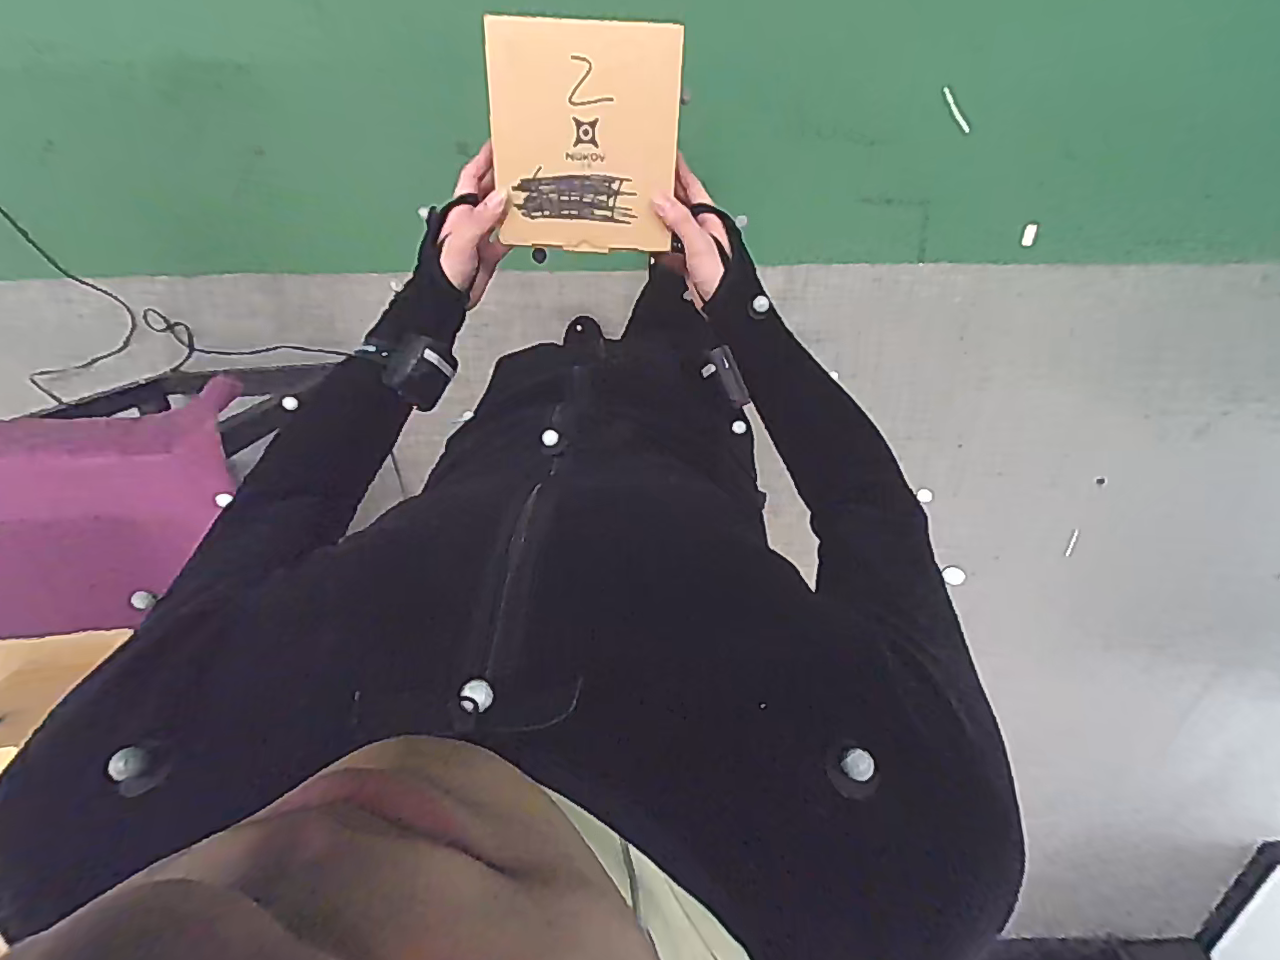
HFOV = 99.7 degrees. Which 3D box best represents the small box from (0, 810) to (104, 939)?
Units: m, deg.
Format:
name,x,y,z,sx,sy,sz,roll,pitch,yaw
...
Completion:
name,x,y,z,sx,sy,sz,roll,pitch,yaw
small box,-1.030,0.596,0.867,0.179,0.176,0.168,-4,111,1
